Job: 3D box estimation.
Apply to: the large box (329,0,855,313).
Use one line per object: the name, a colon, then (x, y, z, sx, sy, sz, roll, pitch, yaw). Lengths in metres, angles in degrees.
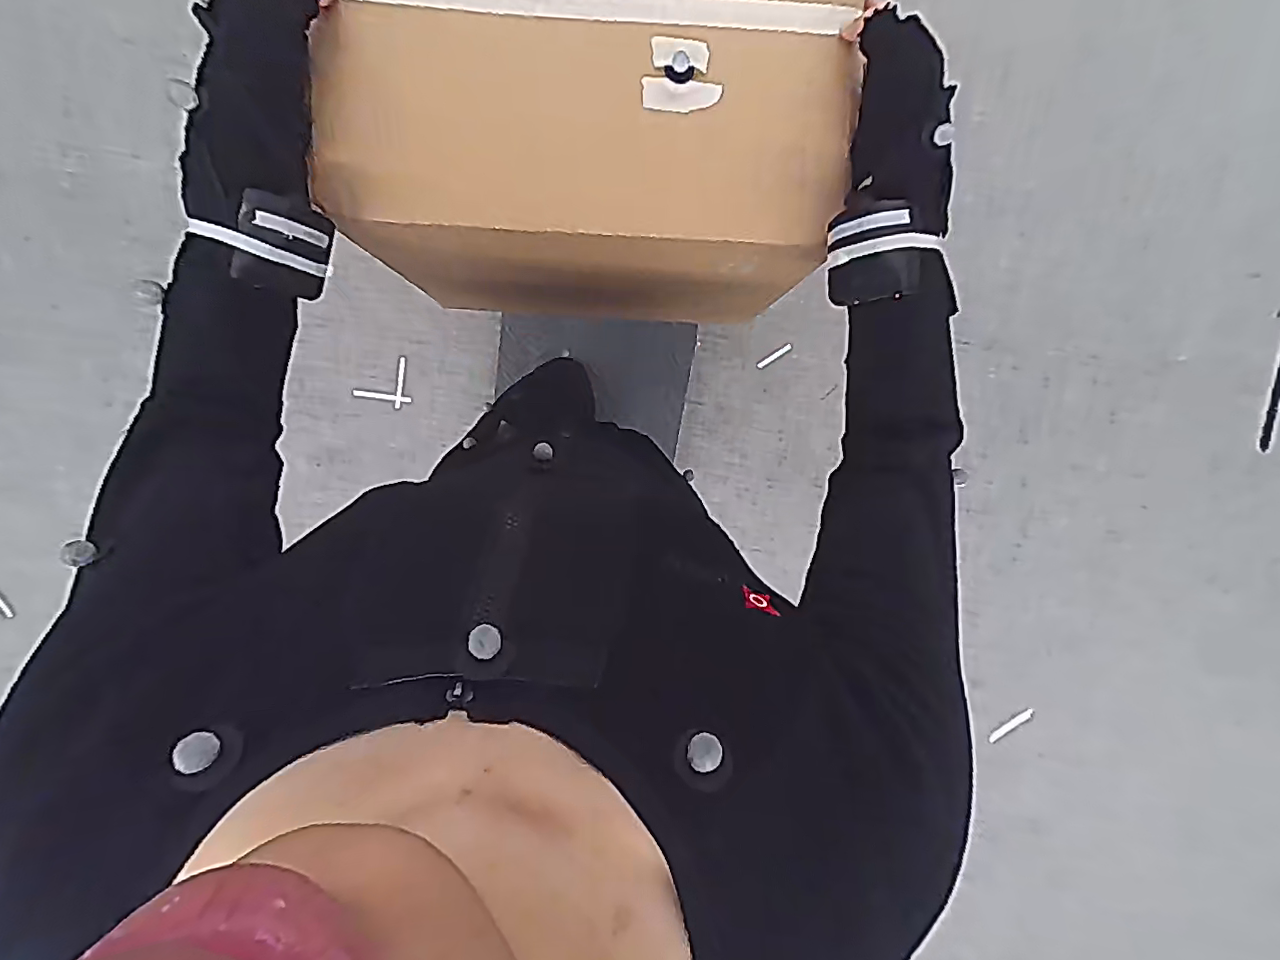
large box: (-0.041, -0.366, 0.557, 0.408, 0.320, 0.320, 2, 95, -3)
